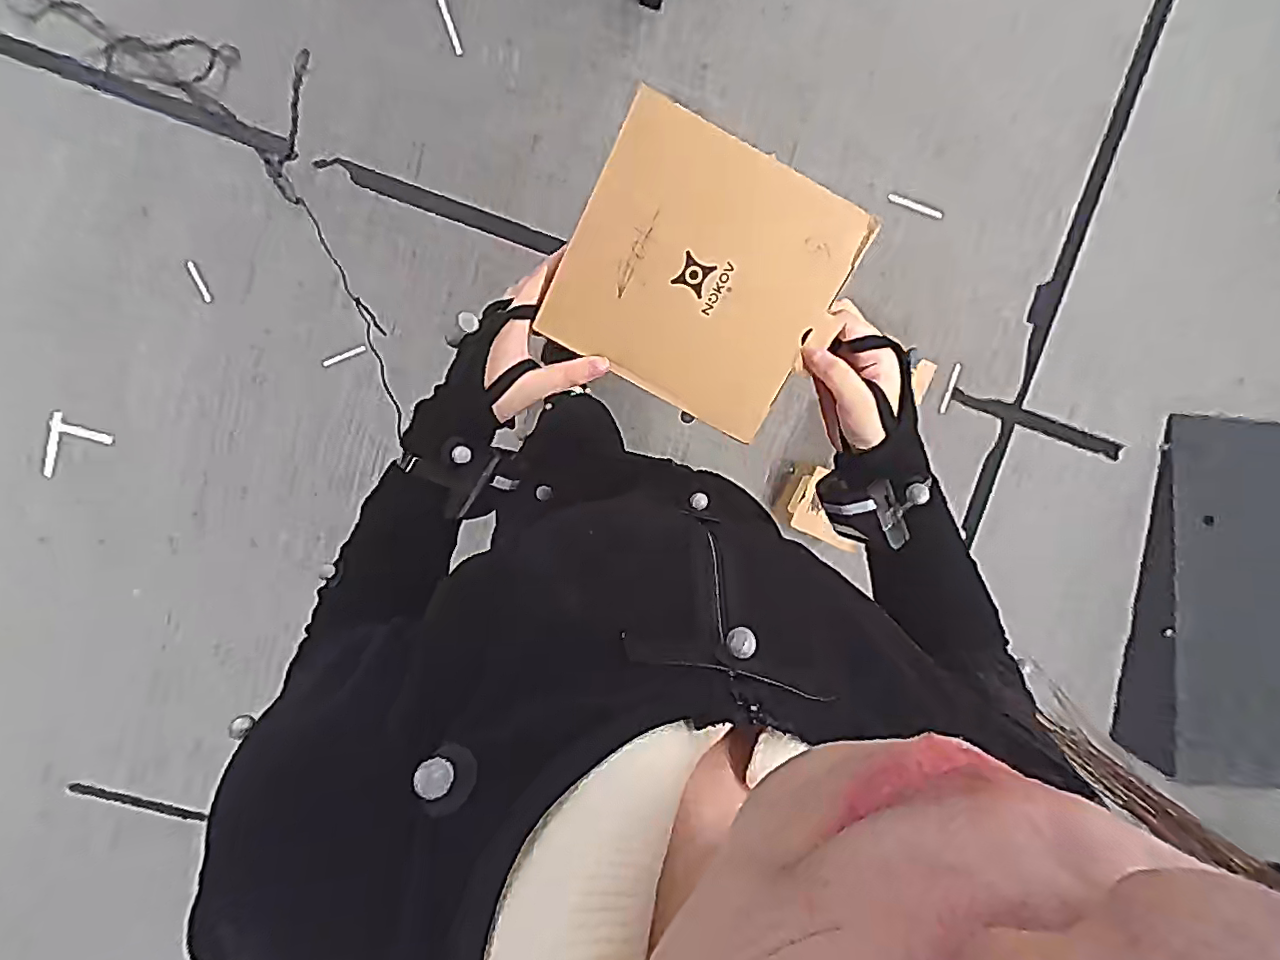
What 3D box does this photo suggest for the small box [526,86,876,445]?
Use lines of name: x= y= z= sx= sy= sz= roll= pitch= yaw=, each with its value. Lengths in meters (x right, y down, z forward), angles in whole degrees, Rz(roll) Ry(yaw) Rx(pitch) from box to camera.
small box: x=0.041 y=-0.152 z=0.427 sx=0.179 sy=0.176 sz=0.168 roll=28 pitch=104 yaw=-3

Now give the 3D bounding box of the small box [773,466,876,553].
small box: x=0.475 y=0.070 z=1.424 sx=0.179 sy=0.176 sz=0.168 roll=24 pitch=95 yaw=-6

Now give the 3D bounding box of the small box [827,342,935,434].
small box: x=0.609 y=-0.232 z=1.393 sx=0.168 sy=0.176 sz=0.179 roll=24 pitch=96 yaw=-5
